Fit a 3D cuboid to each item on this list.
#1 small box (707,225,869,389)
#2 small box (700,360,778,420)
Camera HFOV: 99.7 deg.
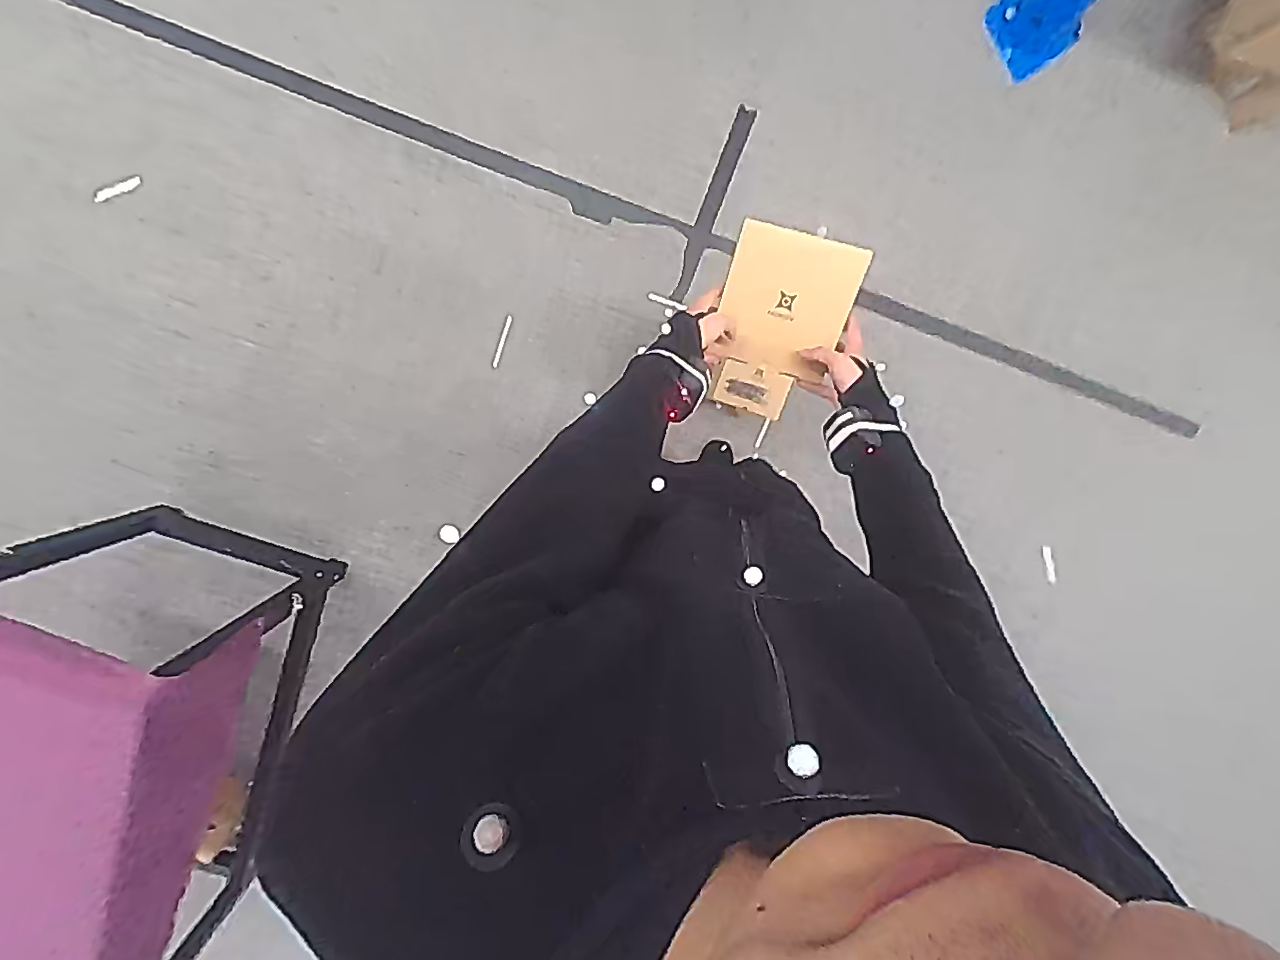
[{"bbox_3d":[0.200,-0.254,0.779,0.168,0.176,0.179,16,117,3],"label":"small box"},{"bbox_3d":[0.273,-0.278,1.494,0.168,0.176,0.179,17,101,-4],"label":"small box"}]
